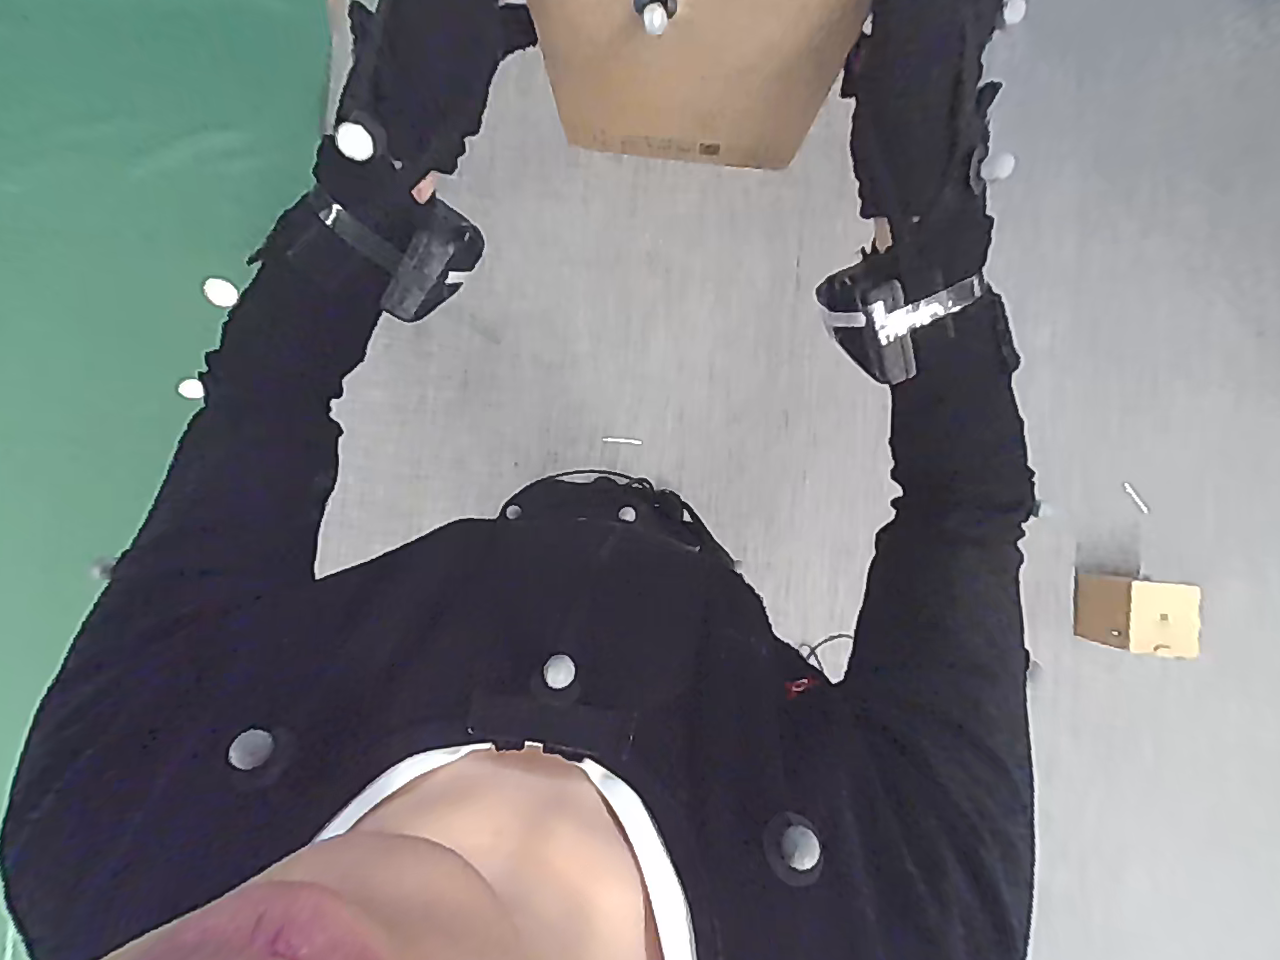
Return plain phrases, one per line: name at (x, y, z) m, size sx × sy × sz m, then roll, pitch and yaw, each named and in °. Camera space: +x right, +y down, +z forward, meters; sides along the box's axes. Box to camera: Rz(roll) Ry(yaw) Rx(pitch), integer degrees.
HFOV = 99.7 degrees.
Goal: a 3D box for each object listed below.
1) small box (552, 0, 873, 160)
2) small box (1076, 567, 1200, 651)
small box at (0.040, -0.323, 0.308) m, size 0.168 × 0.176 × 0.179 m, roll 7°, pitch 94°, yaw 1°
small box at (1.265, 0.322, 1.384) m, size 0.168 × 0.176 × 0.179 m, roll 5°, pitch 88°, yaw 1°
